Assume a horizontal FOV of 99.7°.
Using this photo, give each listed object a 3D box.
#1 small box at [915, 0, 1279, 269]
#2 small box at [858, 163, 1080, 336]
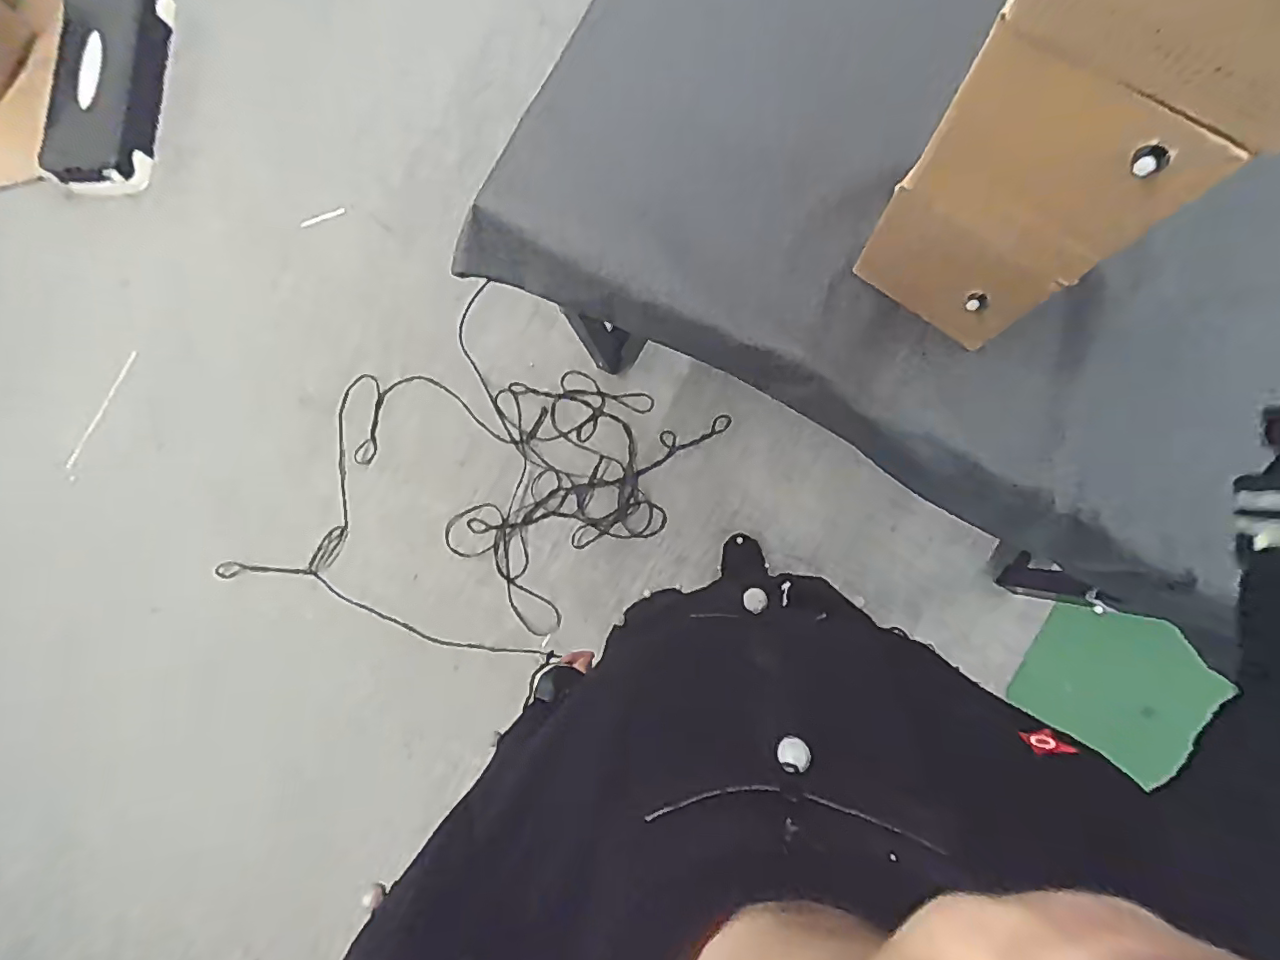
[{"bbox_3d":[0.354,-0.299,0.414,0.179,0.176,0.168,38,88,8],"label":"small box"},{"bbox_3d":[0.370,-0.278,0.574,0.179,0.176,0.168,38,88,10],"label":"small box"}]
